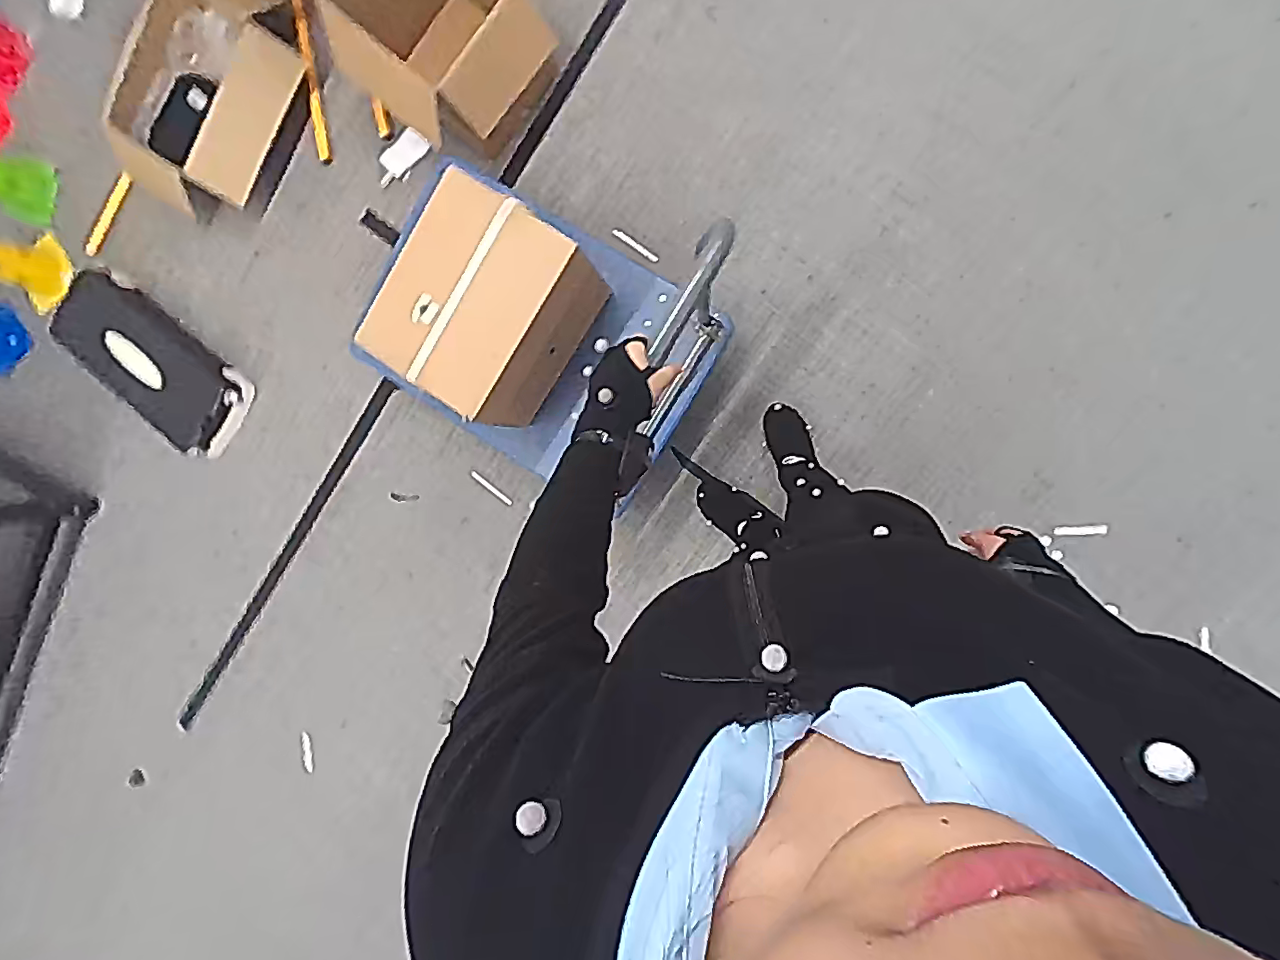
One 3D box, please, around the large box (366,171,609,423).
[{"bbox_3d":[-0.321,-0.381,1.232,0.320,0.320,0.408,34,99,7],"label":"large box"}]
